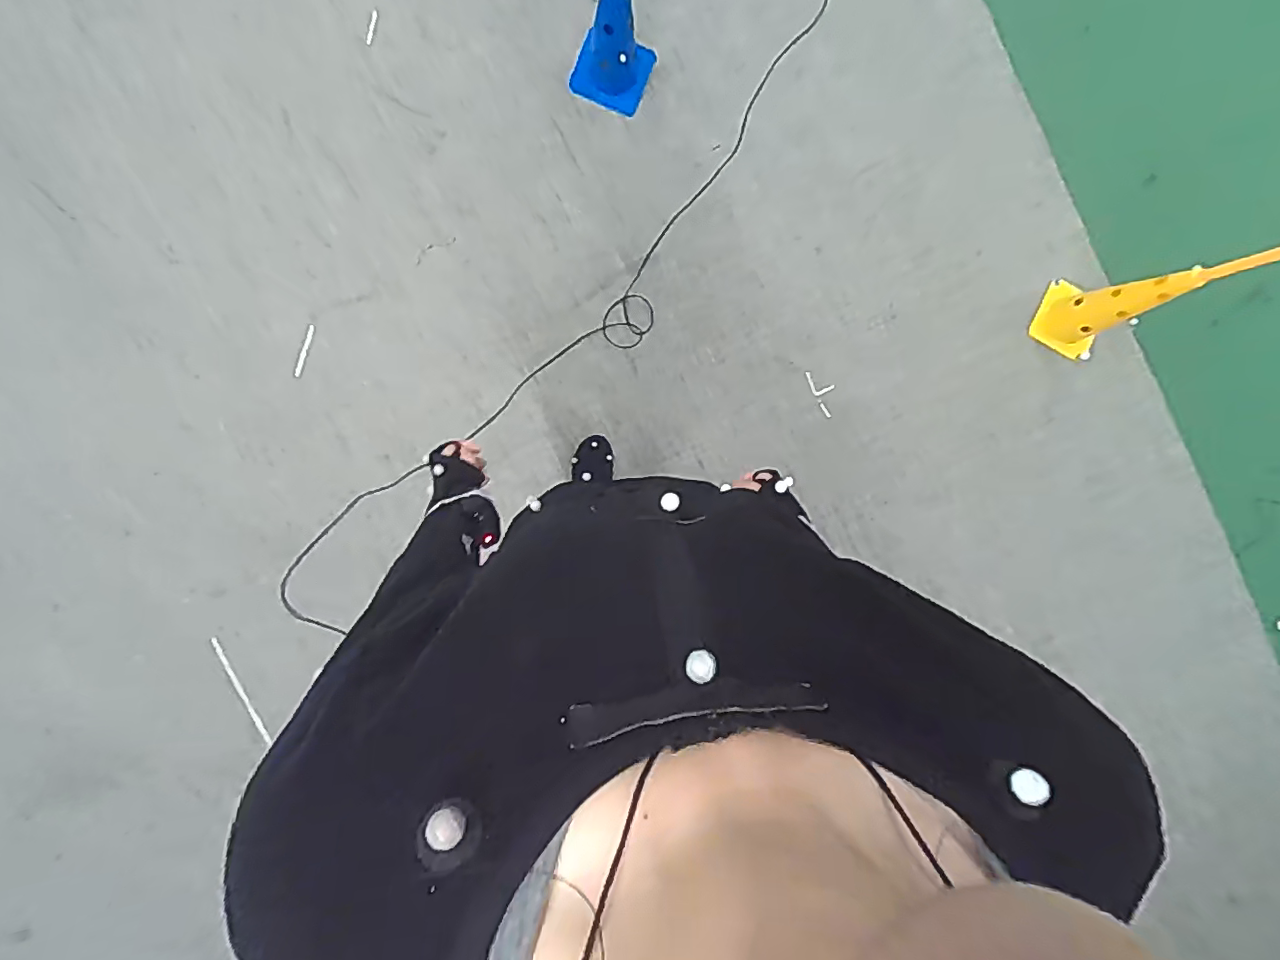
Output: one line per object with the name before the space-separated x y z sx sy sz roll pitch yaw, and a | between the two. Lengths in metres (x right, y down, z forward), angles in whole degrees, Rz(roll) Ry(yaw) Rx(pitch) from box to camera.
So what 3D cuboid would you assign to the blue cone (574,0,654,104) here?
blue cone | -0.062 -1.131 1.308 0.193 0.380 0.192 19 89 -3
